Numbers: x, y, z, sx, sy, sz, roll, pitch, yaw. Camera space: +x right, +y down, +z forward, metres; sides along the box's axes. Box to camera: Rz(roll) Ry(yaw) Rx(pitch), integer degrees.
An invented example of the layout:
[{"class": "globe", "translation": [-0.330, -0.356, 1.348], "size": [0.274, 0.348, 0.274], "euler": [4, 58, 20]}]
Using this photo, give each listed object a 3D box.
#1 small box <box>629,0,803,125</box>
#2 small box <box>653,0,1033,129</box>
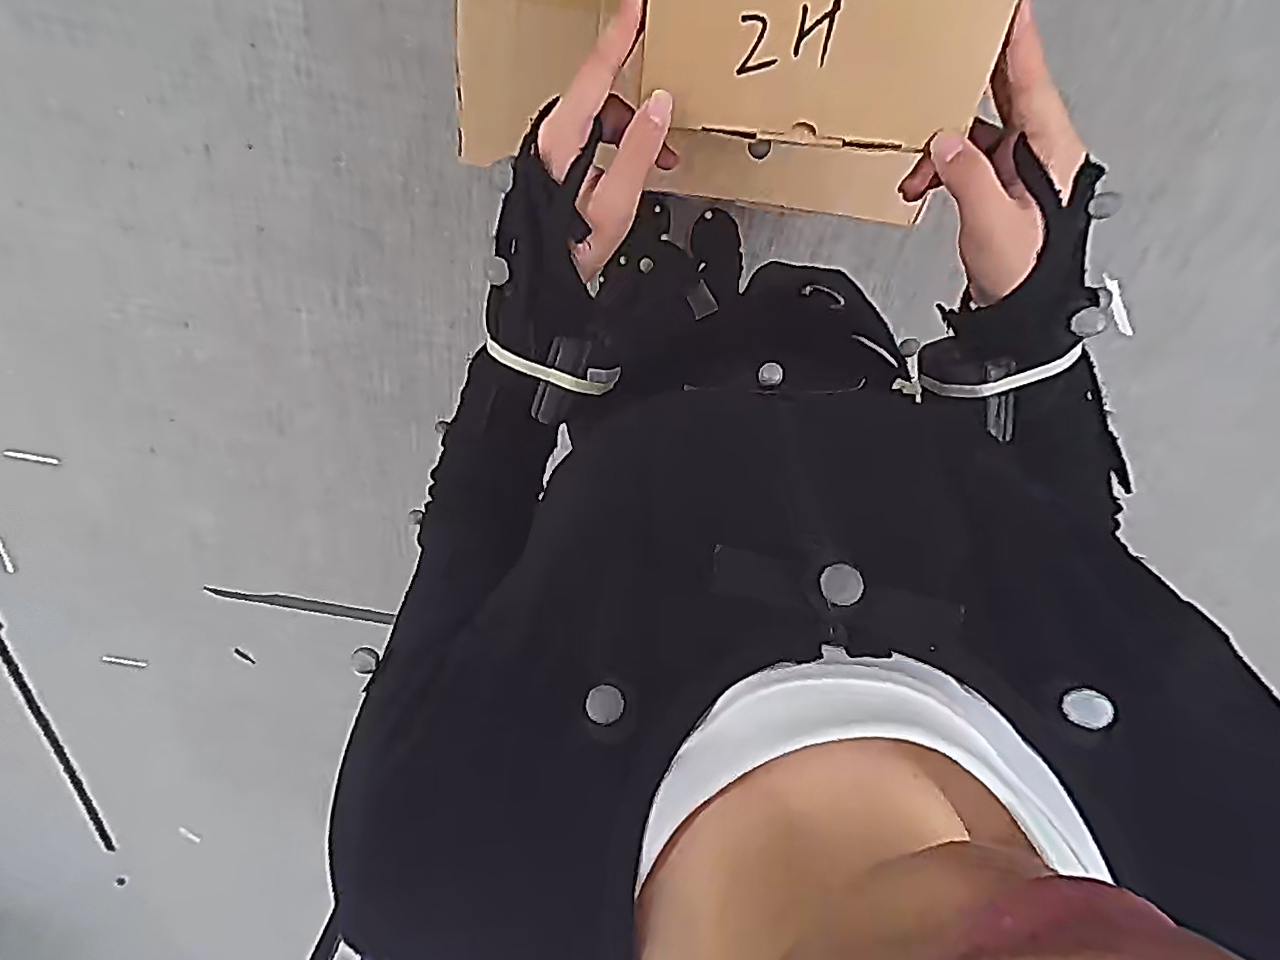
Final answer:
[{"class": "small box", "translation": [0.092, -0.416, 0.449], "size": [0.168, 0.176, 0.179], "euler": [10, 117, -1]}, {"class": "small box", "translation": [0.096, -0.295, 0.278], "size": [0.168, 0.176, 0.179], "euler": [5, 125, -2]}]
